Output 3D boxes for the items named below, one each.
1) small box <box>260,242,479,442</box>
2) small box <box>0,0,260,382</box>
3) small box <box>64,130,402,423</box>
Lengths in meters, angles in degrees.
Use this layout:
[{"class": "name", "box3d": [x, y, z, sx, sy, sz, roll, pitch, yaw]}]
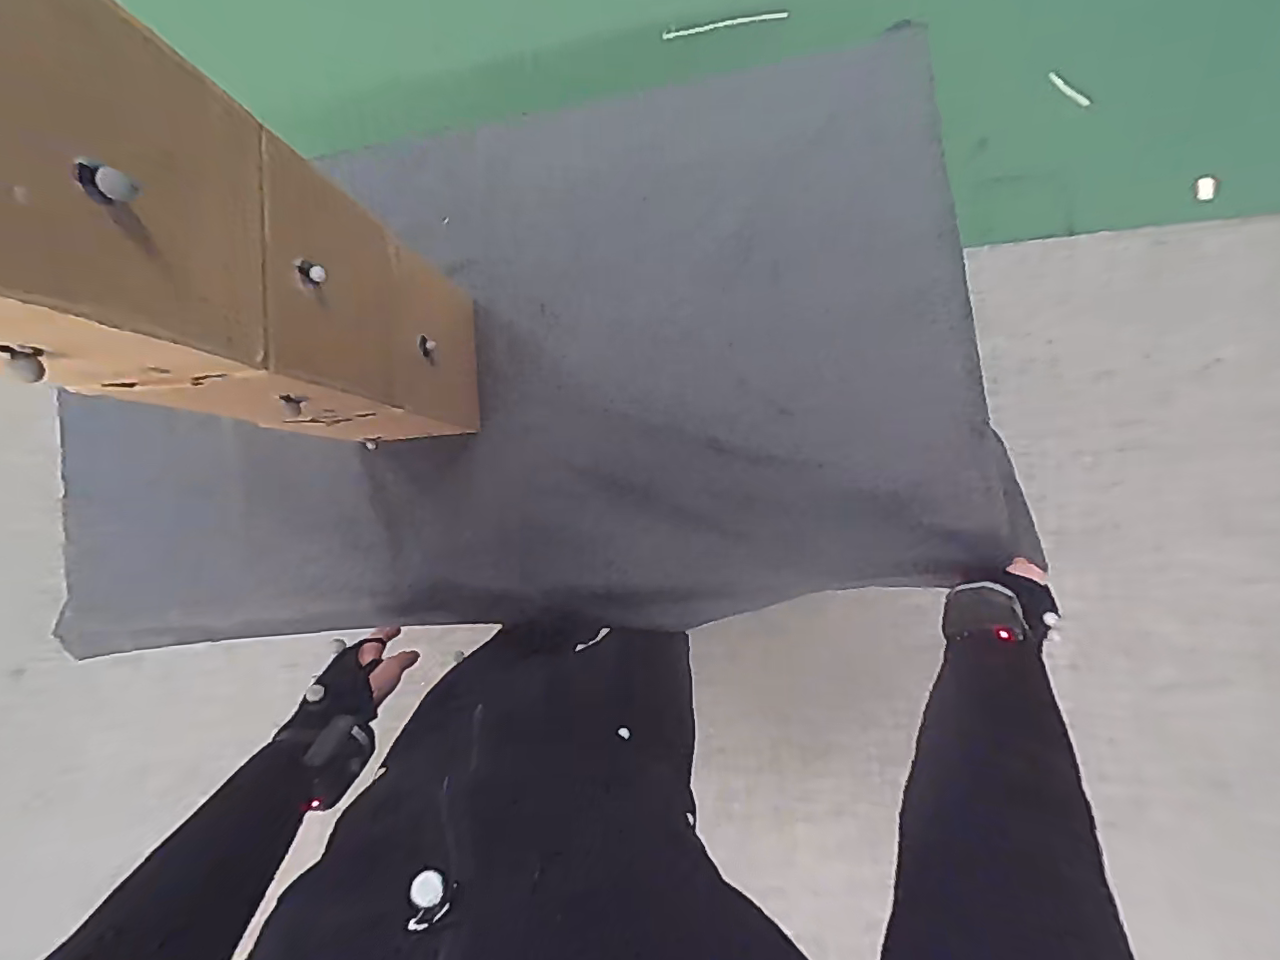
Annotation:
[{"class": "small box", "box3d": [-0.295, -0.139, 0.614, 0.168, 0.176, 0.179, -5, 87, 9]}, {"class": "small box", "box3d": [-0.343, -0.153, 0.293, 0.168, 0.176, 0.179, -3, 89, 7]}, {"class": "small box", "box3d": [-0.320, -0.146, 0.455, 0.168, 0.176, 0.179, -4, 87, 8]}]
